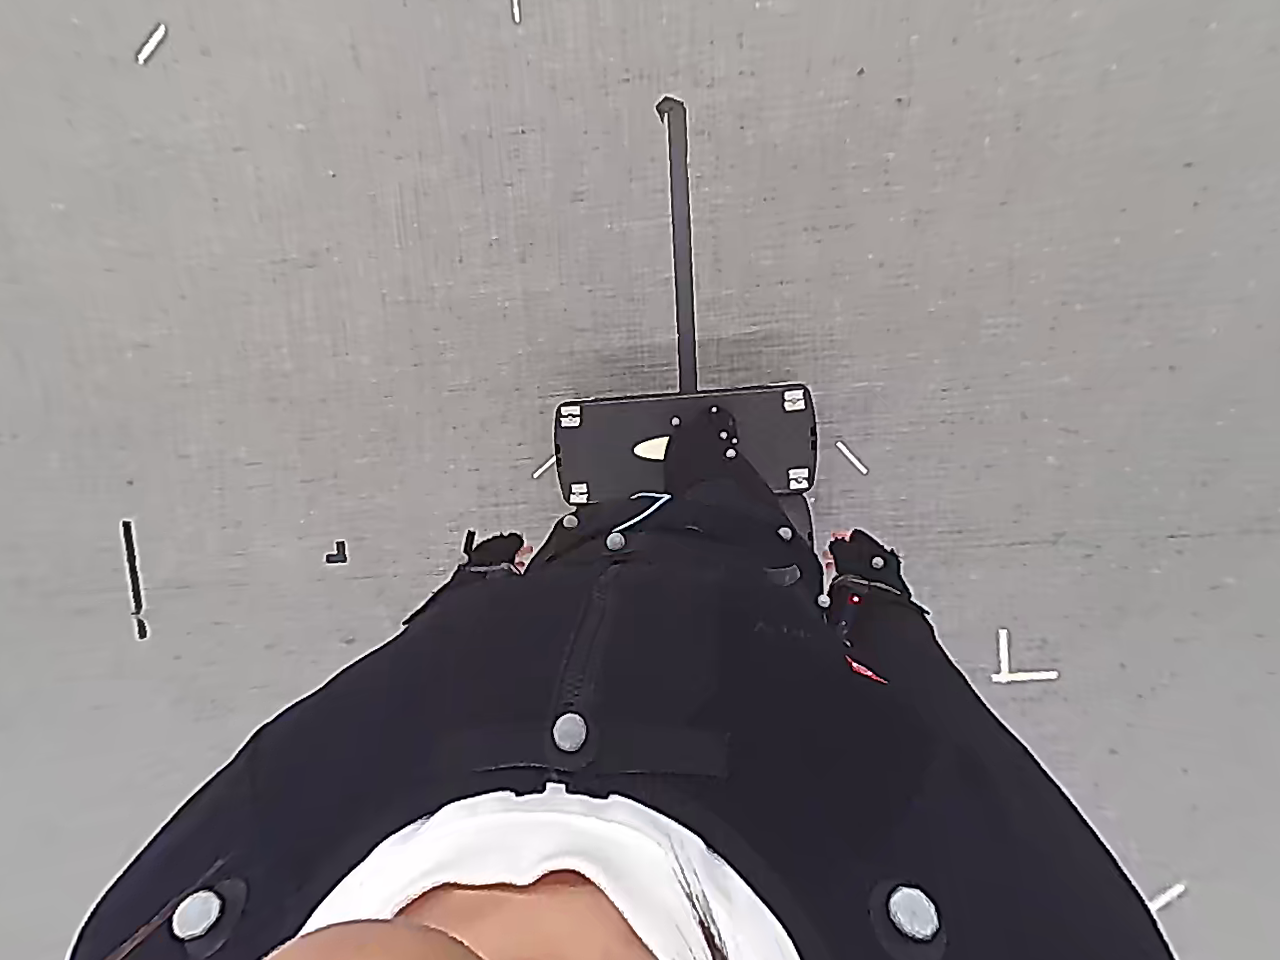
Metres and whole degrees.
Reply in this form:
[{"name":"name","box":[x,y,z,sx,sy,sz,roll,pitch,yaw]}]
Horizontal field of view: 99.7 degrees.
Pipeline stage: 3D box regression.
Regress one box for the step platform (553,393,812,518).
[{"name":"step platform","box":[0.109,-0.066,1.469,0.684,0.204,0.286,-5,97,5]}]
